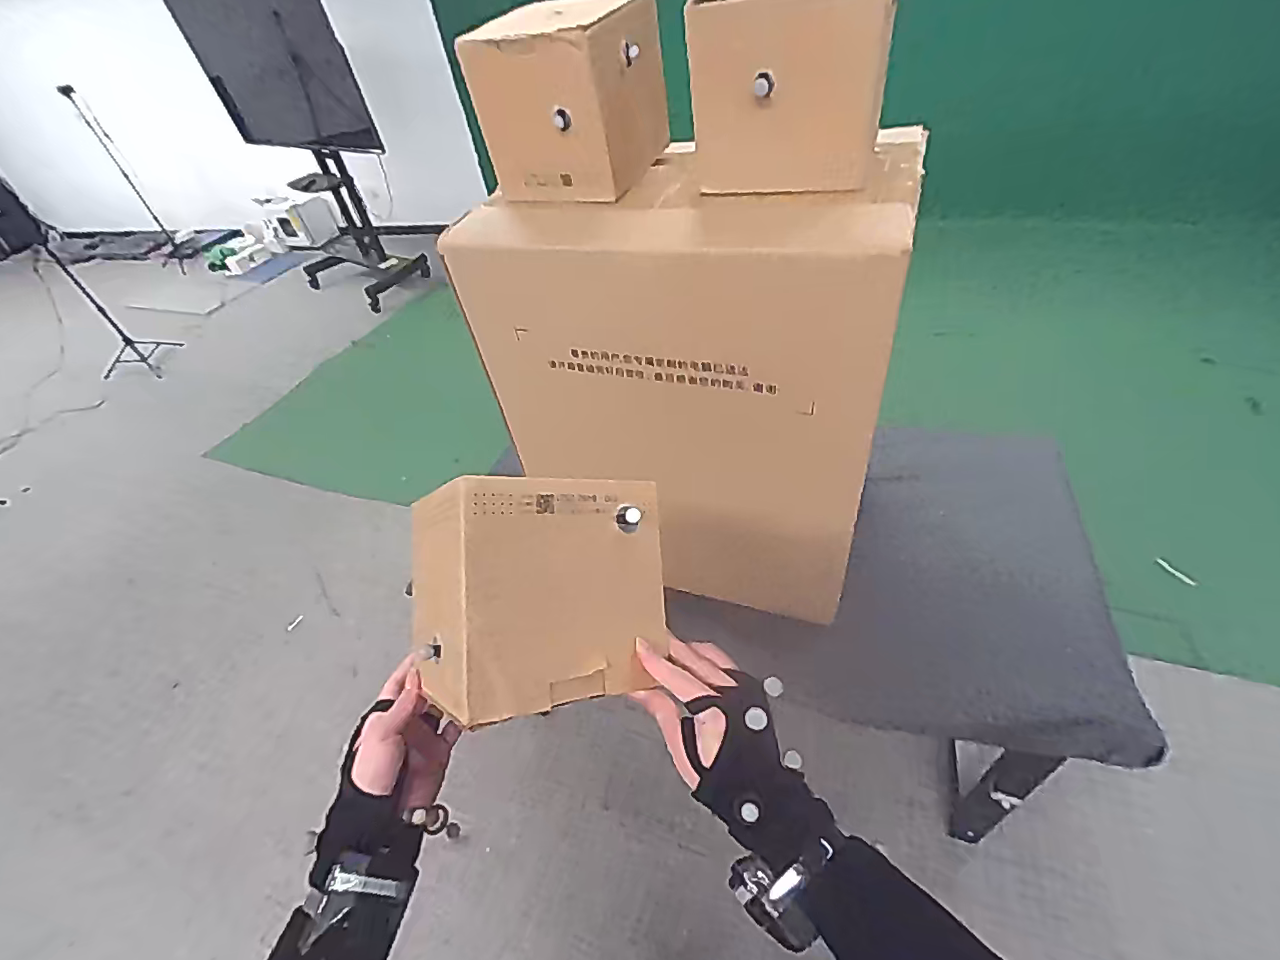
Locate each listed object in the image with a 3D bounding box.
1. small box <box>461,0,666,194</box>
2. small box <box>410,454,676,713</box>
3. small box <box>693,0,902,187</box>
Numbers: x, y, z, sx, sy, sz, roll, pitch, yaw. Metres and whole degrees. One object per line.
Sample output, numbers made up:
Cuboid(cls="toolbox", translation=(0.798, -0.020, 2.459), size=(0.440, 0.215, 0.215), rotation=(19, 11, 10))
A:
Cuboid(cls="small box", translation=(-0.074, -0.463, 0.650), size=(0.168, 0.176, 0.179), rotation=(14, 51, 20))
Cuboid(cls="small box", translation=(-0.091, 0.075, 0.455), size=(0.168, 0.176, 0.179), rotation=(2, -9, -34))
Cuboid(cls="small box", translation=(0.167, -0.424, 0.565), size=(0.179, 0.176, 0.168), rotation=(9, 51, 20))
